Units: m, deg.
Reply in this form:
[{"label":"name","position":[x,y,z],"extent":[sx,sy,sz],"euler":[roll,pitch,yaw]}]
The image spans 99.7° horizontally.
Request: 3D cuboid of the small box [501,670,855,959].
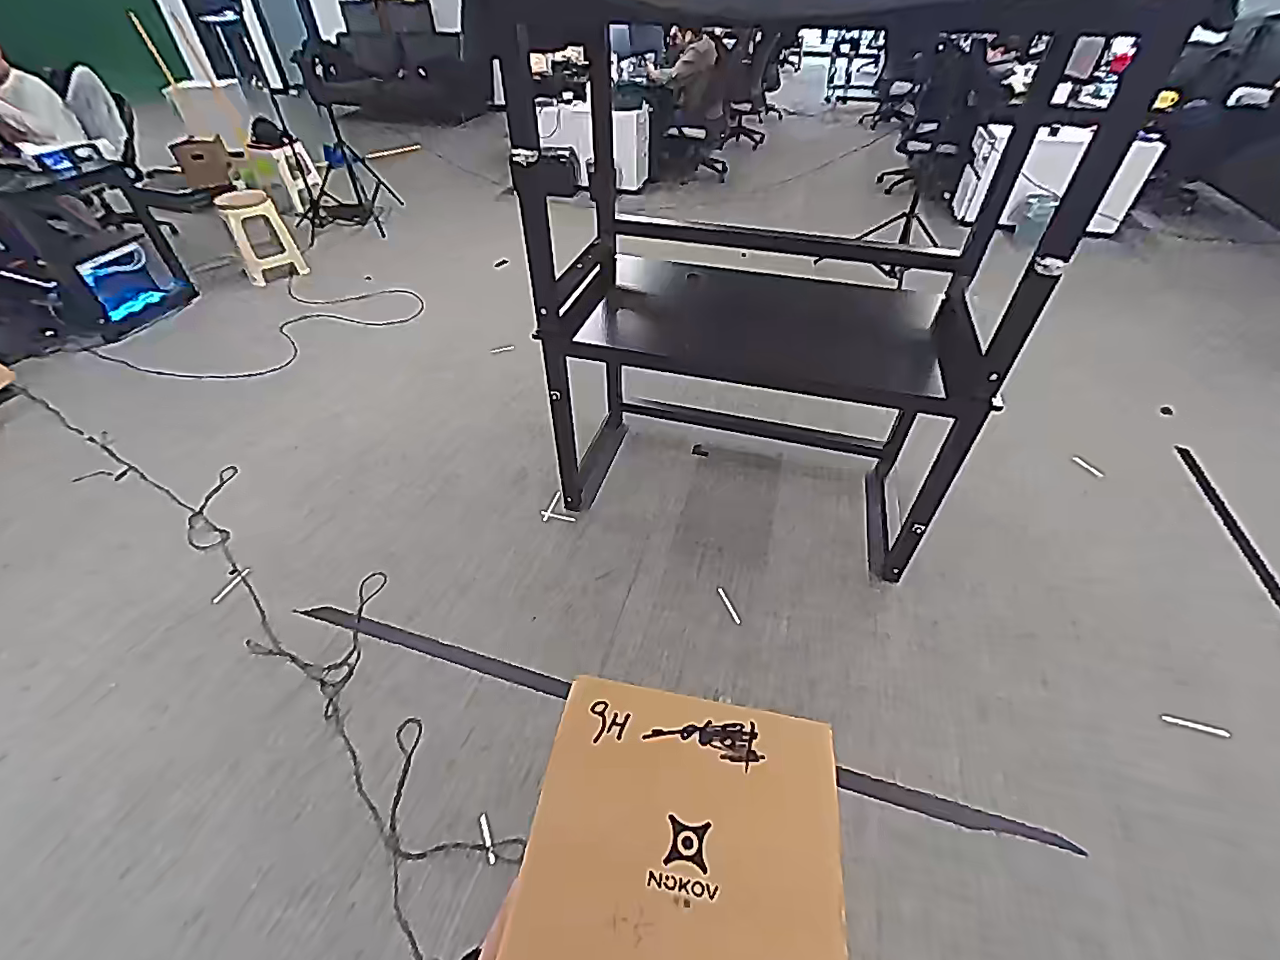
[{"label":"small box","position":[0.022,0.249,0.335],"extent":[0.168,0.176,0.179],"euler":[10,47,4]}]
